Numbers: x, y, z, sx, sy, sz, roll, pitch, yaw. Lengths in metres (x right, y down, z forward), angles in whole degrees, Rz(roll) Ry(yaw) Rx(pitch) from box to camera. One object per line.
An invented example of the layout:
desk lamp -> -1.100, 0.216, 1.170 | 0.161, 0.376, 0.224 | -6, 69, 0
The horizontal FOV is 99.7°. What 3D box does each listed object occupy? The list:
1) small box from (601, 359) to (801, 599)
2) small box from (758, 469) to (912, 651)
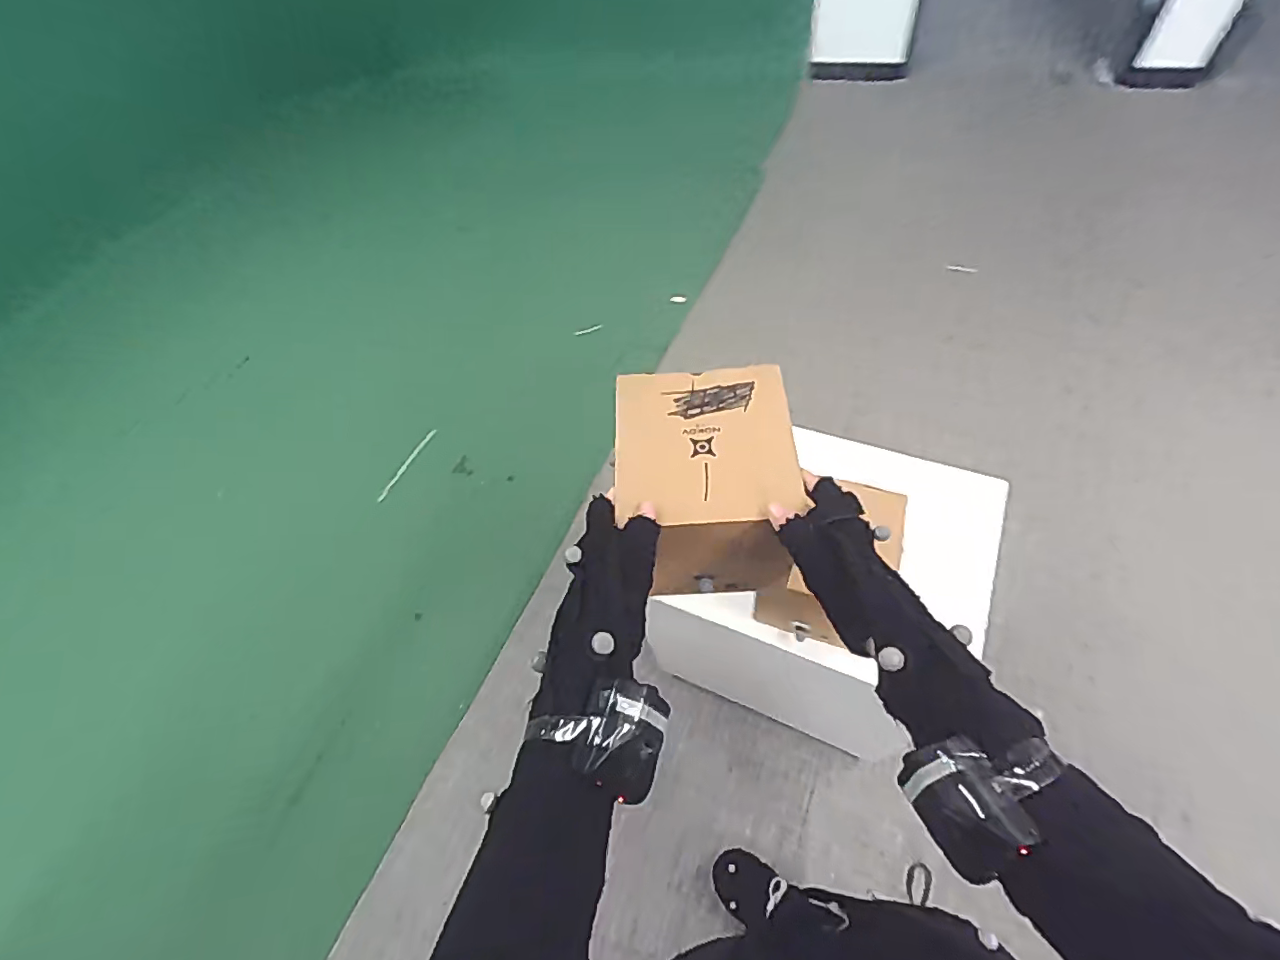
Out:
small box -> 0.055, 0.005, 0.561 | 0.168, 0.176, 0.179 | -8, 57, 4
small box -> 0.262, 0.114, 0.753 | 0.168, 0.176, 0.179 | 12, 62, 19
